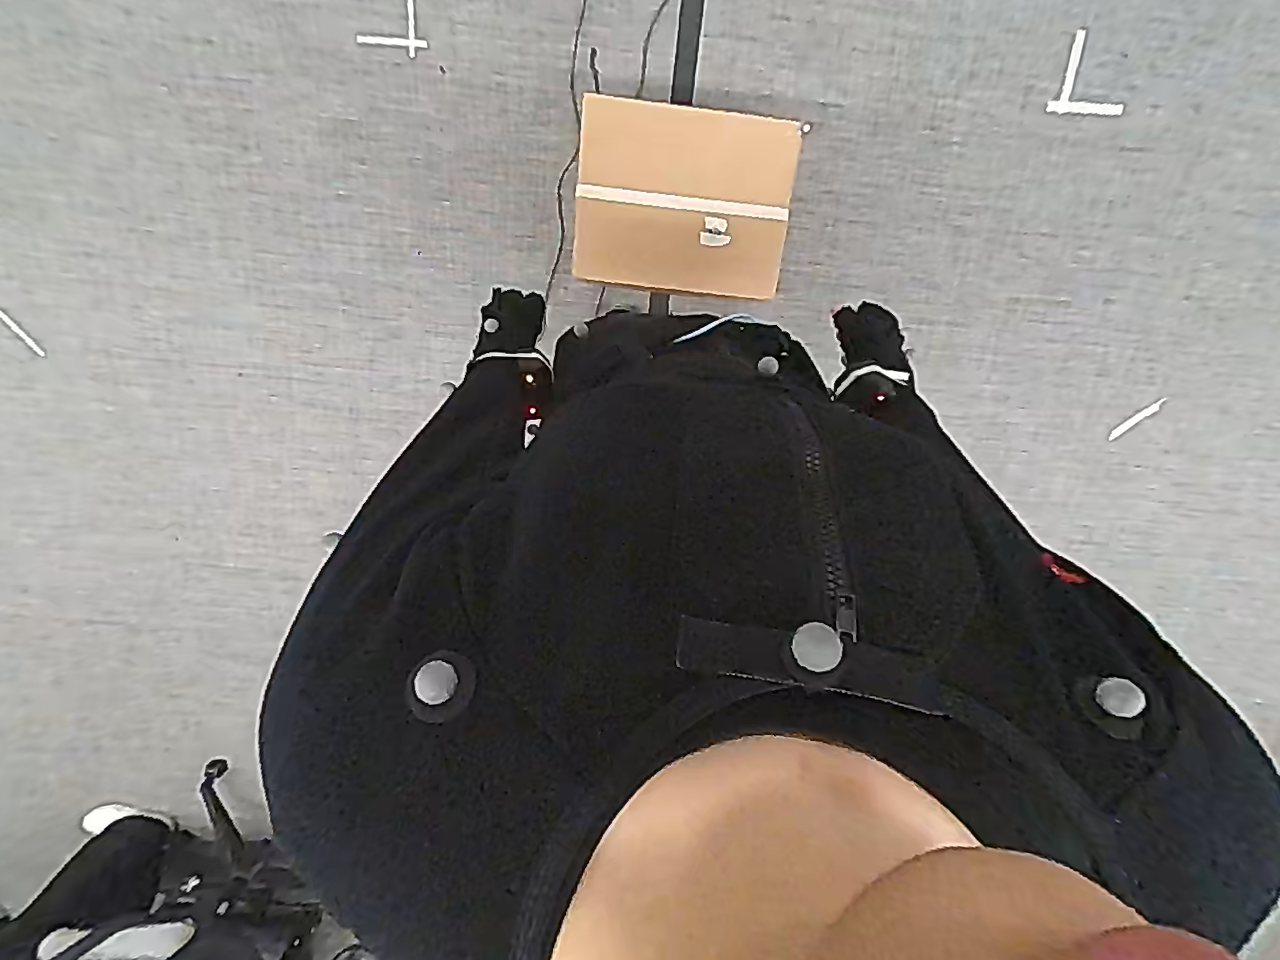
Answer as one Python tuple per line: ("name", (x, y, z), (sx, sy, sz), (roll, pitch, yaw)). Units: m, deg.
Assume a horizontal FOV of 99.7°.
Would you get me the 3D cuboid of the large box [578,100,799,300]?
("large box", (0.079, -0.572, 1.174), (0.408, 0.320, 0.320), (5, 108, -4))
